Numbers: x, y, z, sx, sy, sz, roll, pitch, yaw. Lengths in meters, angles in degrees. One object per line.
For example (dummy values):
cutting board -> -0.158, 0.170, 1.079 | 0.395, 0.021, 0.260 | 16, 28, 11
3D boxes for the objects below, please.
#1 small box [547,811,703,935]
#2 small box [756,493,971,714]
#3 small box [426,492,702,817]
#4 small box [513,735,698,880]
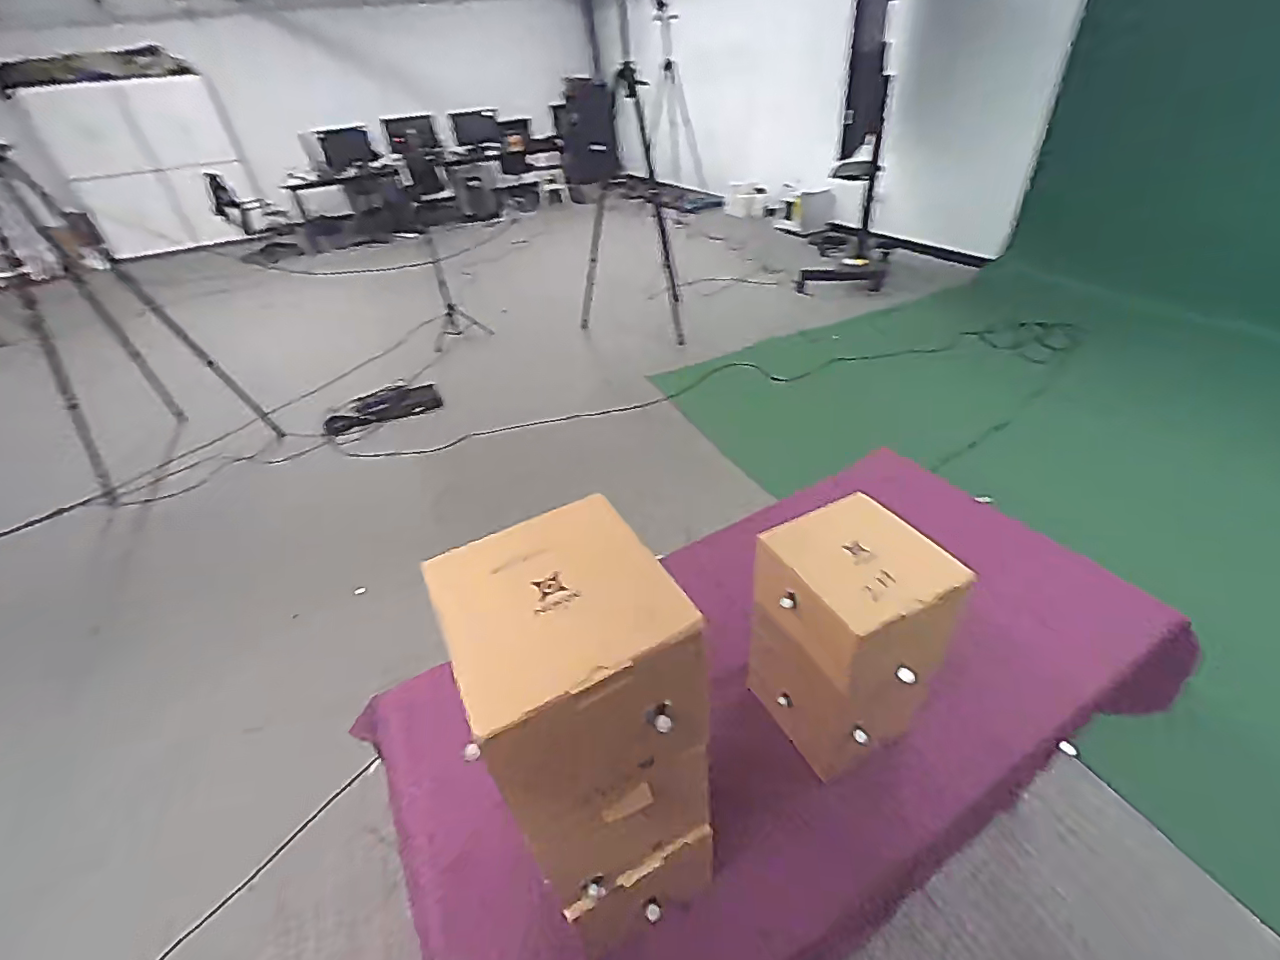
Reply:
small box -> -0.036, 0.405, 0.655 | 0.168, 0.176, 0.179 | -20, 41, -19
small box -> 0.258, 0.150, 0.675 | 0.168, 0.176, 0.179 | -19, 40, -16
small box -> -0.059, 0.145, 0.456 | 0.168, 0.176, 0.179 | -21, 40, -20
small box -> -0.048, 0.271, 0.558 | 0.168, 0.176, 0.179 | -20, 39, -18
